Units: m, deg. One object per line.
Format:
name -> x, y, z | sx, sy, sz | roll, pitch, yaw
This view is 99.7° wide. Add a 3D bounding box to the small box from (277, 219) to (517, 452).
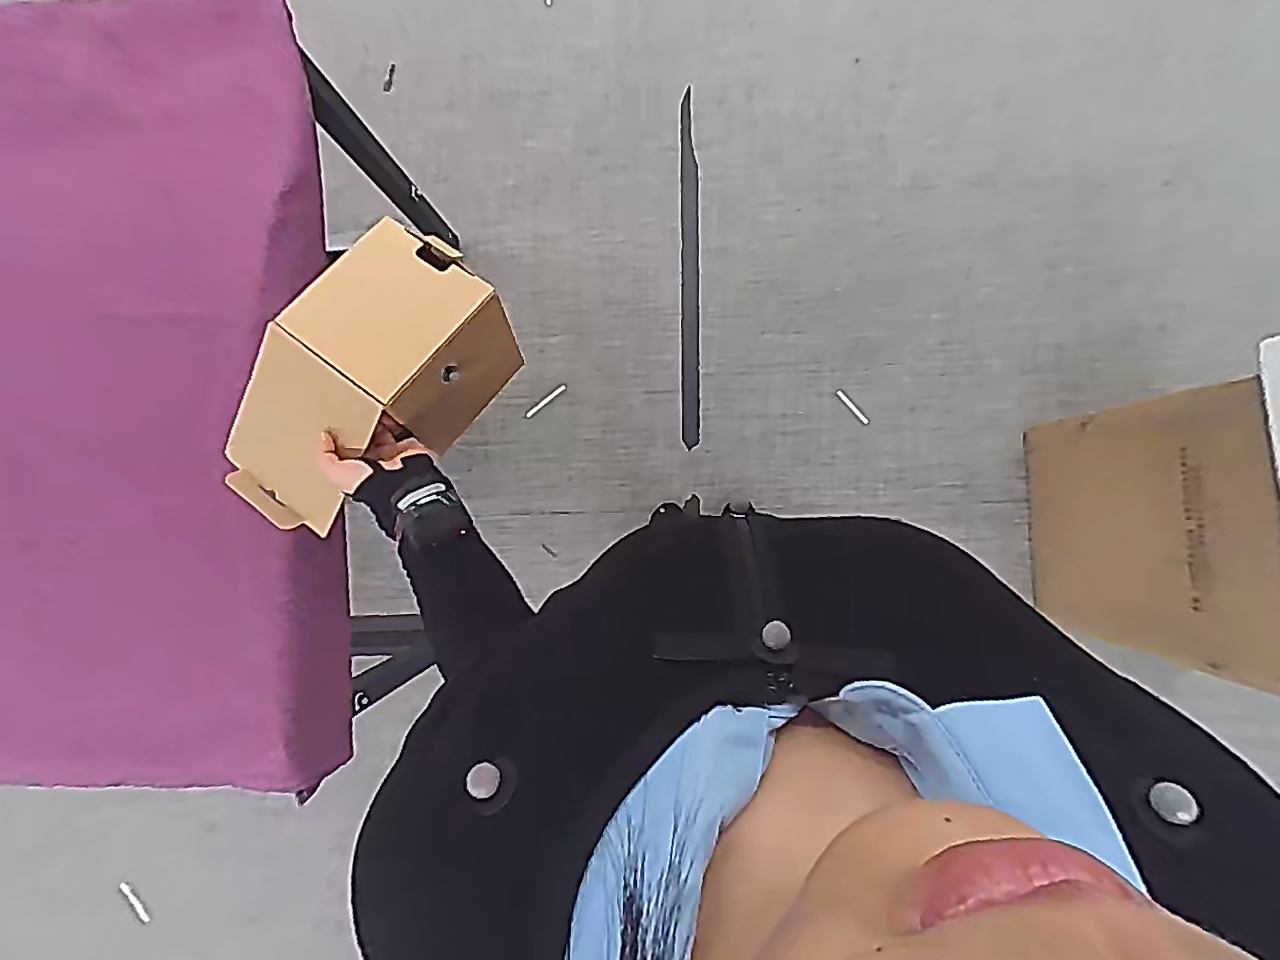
small box -> -0.272, -0.162, 0.656 | 0.168, 0.176, 0.179 | 35, 75, 9
